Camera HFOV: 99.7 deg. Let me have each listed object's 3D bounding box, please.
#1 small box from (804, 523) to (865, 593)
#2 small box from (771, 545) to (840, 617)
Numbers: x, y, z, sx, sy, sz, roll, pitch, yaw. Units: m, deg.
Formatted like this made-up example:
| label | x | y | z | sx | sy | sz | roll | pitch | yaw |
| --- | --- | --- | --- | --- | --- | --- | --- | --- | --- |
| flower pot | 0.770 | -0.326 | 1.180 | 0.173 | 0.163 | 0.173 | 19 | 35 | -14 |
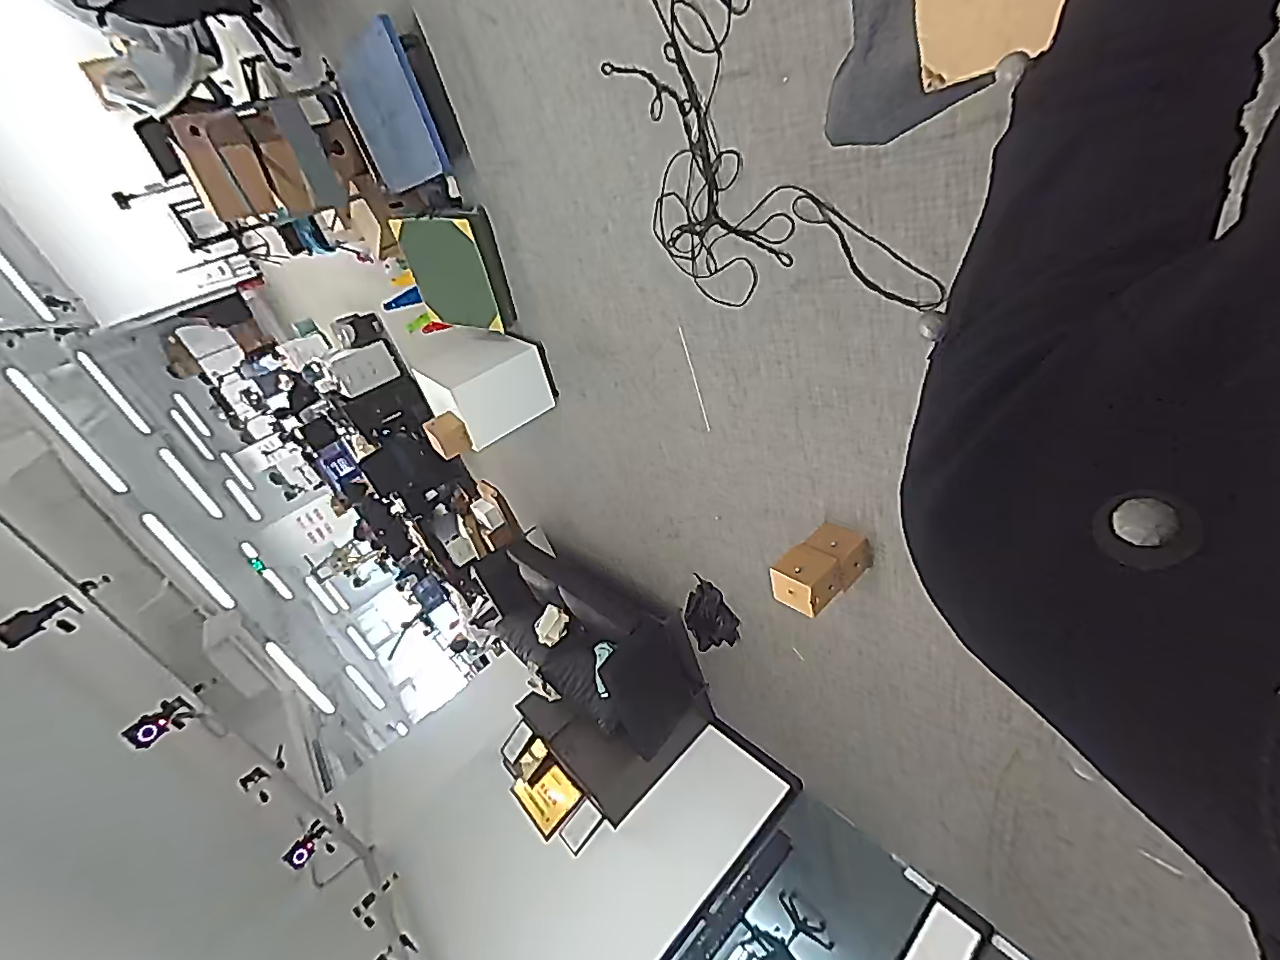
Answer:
| label | x | y | z | sx | sy | sz | roll | pitch | yaw |
| --- | --- | --- | --- | --- | --- | --- | --- | --- | --- |
| small box | 0.737 | 0.289 | 2.049 | 0.179 | 0.176 | 0.168 | 22 | 139 | 45 |
| small box | 0.607 | 0.361 | 1.979 | 0.179 | 0.176 | 0.168 | 23 | 140 | 46 |
